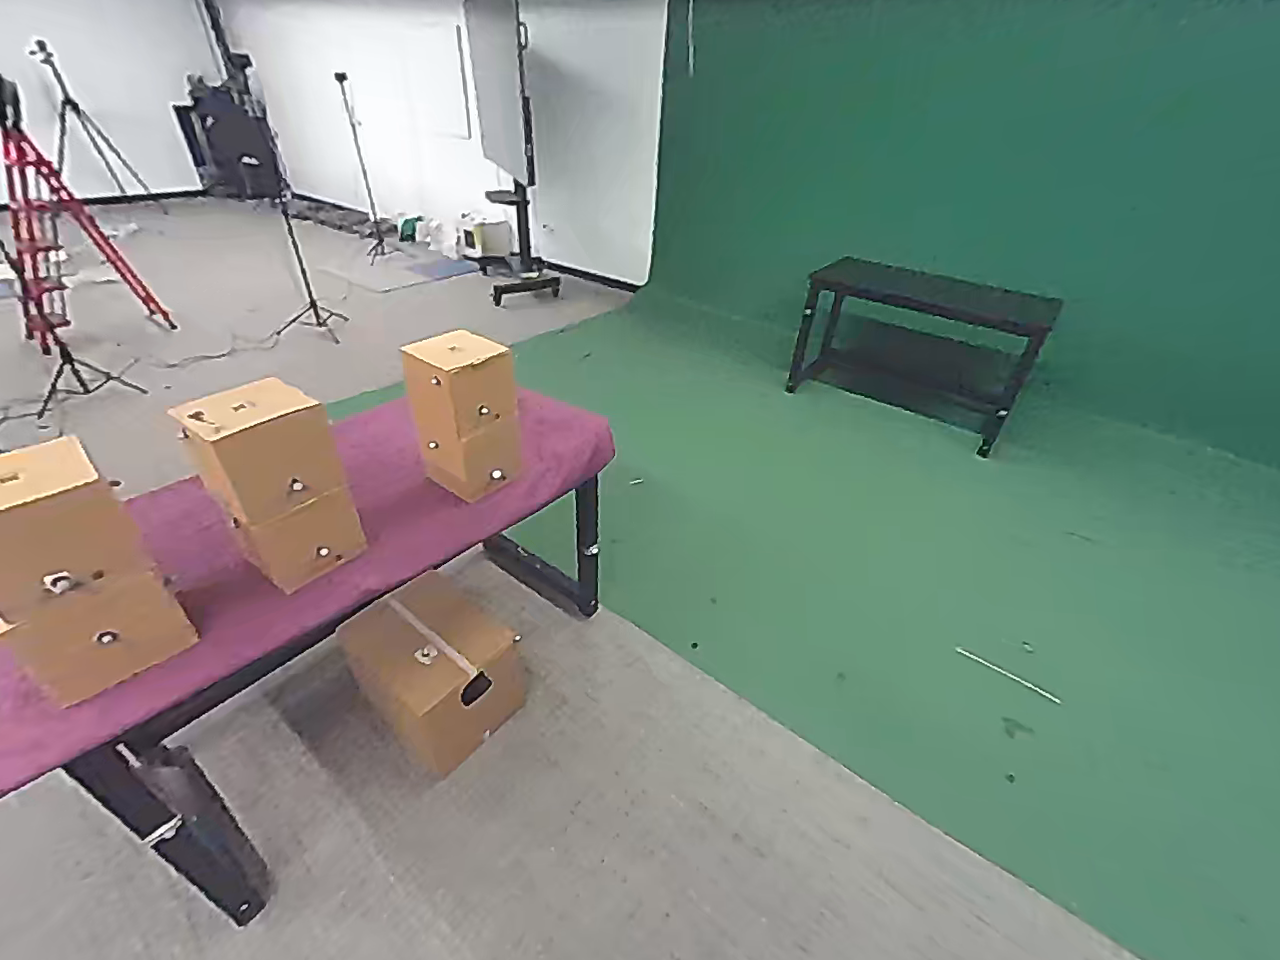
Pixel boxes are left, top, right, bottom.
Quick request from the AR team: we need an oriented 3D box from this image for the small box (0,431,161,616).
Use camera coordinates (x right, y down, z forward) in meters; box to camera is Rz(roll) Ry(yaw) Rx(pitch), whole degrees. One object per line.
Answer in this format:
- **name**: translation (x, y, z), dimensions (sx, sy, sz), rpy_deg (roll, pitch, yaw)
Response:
- **small box**: translation (-0.841, 0.059, 0.772), dimensions (0.179, 0.176, 0.168), rpy_deg (28, 43, 31)

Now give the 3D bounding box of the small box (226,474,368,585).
- **small box**: translation (-0.667, 0.072, 1.051), dimensions (0.179, 0.176, 0.168), rpy_deg (25, 41, 28)

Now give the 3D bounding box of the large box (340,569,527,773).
- **large box**: translation (-0.579, 0.533, 1.558), dimensions (0.408, 0.320, 0.320), rpy_deg (27, 42, 28)

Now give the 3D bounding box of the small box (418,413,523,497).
- **small box**: translation (-0.400, -0.084, 1.298), dimensions (0.179, 0.176, 0.168), rpy_deg (27, 42, 29)

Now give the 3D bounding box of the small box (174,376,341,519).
- **small box**: translation (-0.659, -0.061, 0.955), dimensions (0.168, 0.176, 0.179), rpy_deg (24, 39, 28)

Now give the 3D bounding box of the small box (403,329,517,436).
- **small box**: translation (-0.395, -0.219, 1.207), dimensions (0.179, 0.176, 0.168), rpy_deg (26, 41, 28)
